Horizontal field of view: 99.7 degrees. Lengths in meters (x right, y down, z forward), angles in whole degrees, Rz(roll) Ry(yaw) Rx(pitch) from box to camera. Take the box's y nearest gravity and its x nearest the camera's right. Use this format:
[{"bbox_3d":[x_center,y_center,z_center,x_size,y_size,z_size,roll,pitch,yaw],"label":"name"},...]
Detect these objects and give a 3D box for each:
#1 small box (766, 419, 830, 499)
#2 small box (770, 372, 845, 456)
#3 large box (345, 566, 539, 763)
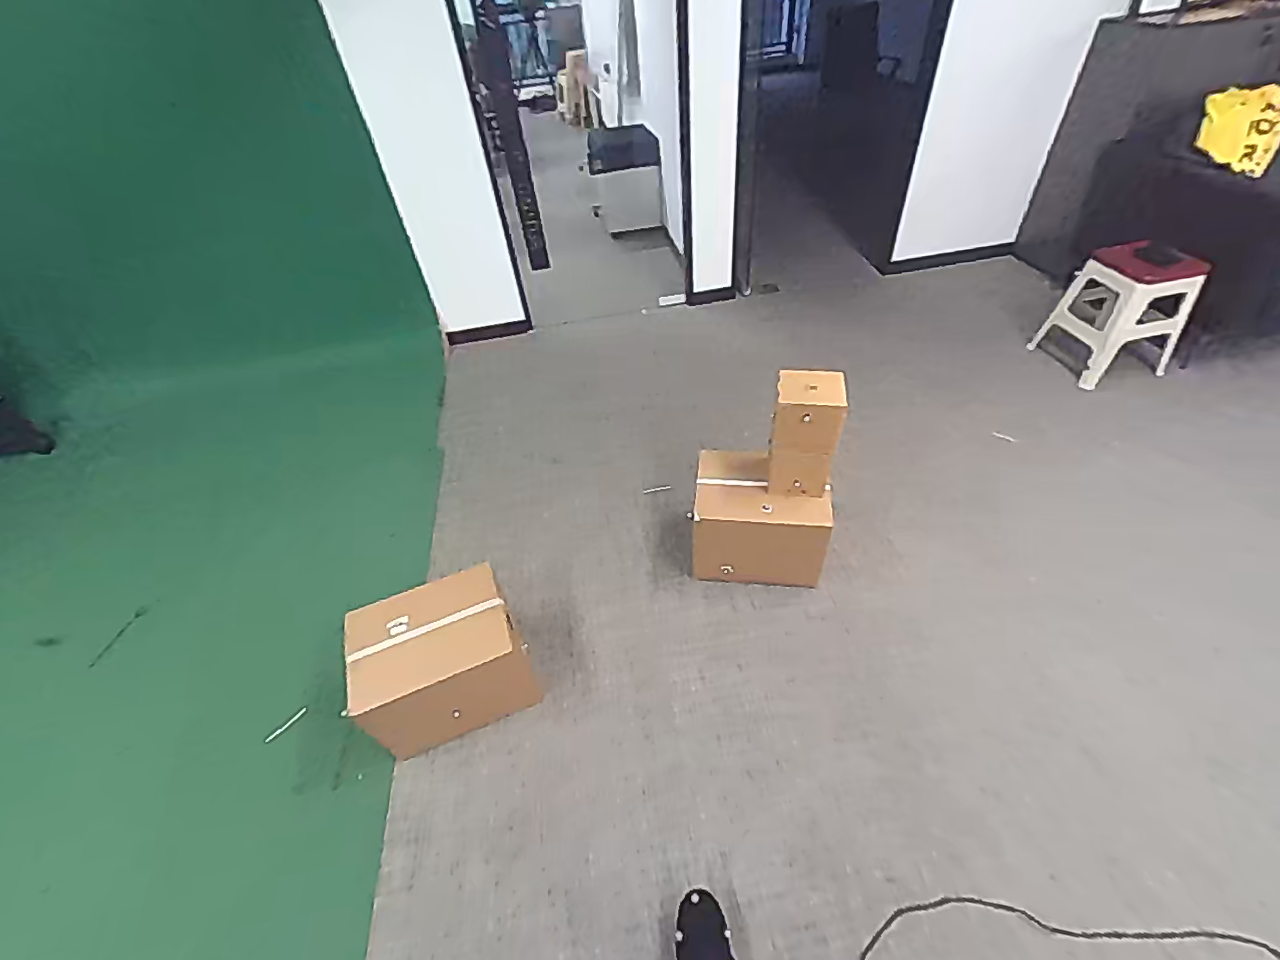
[{"bbox_3d":[0.469,-0.065,1.627,0.168,0.176,0.179,3,43,10],"label":"small box"},{"bbox_3d":[0.465,-0.183,1.515,0.179,0.176,0.168,4,43,12],"label":"small box"},{"bbox_3d":[-0.540,0.509,1.505,0.408,0.320,0.320,-20,45,-12],"label":"large box"}]
